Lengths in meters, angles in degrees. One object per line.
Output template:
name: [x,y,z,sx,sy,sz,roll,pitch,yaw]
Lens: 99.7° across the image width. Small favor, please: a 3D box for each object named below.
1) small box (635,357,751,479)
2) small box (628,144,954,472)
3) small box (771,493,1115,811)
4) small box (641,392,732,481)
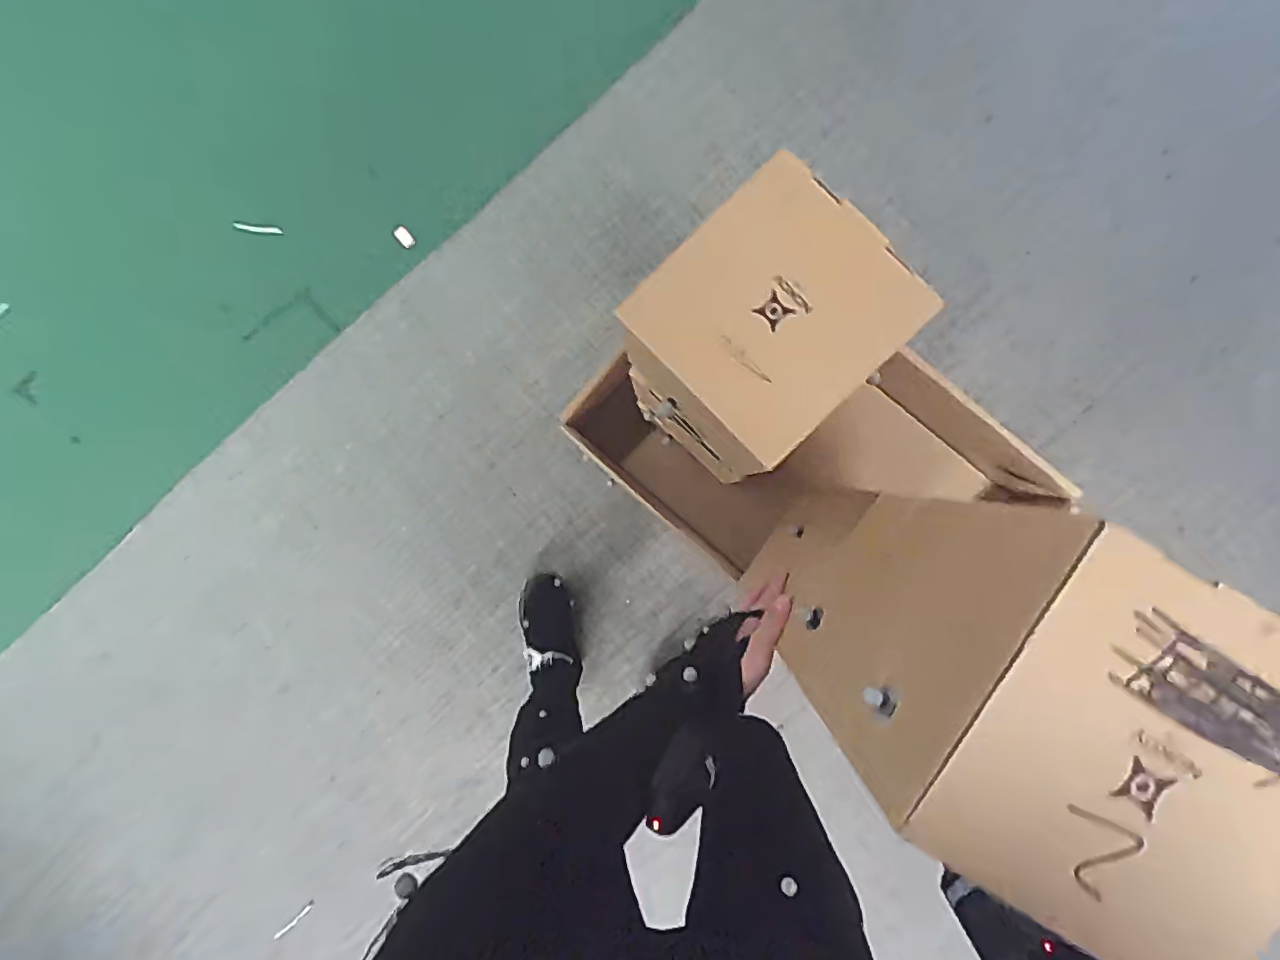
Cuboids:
small box: [0.115,-0.114,0.625,0.179,0.176,0.168,-44,87,0]
small box: [0.108,-0.123,0.462,0.179,0.176,0.168,-42,86,1]
small box: [0.234,0.128,0.475,0.168,0.176,0.179,33,92,0]
small box: [0.122,-0.112,0.788,0.168,0.176,0.179,42,90,4]
